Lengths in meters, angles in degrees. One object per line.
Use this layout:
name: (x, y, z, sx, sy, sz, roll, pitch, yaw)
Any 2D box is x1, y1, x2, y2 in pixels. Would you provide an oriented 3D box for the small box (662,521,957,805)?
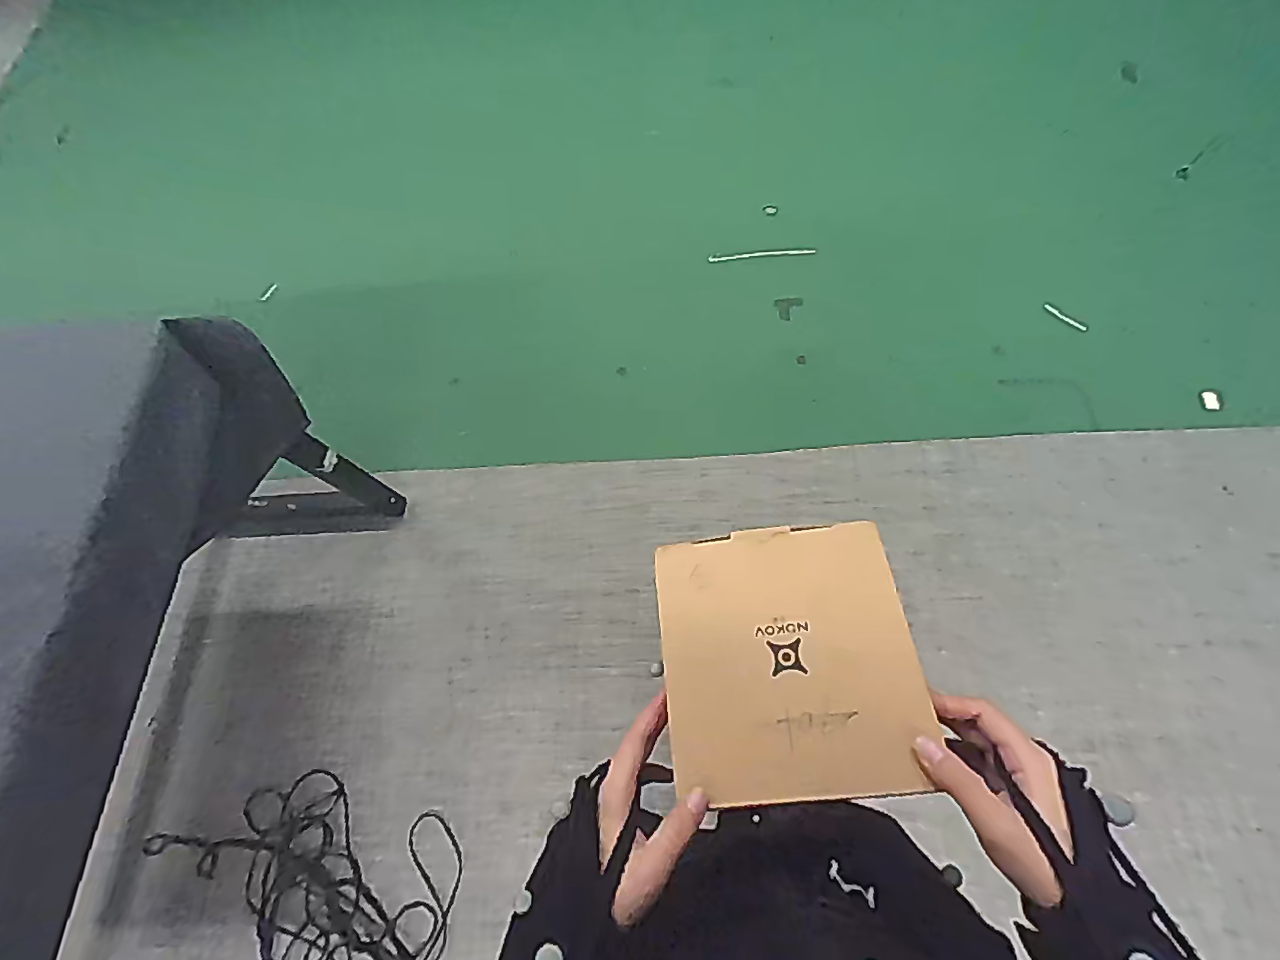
small box: (0.110, 0.152, 0.430, 0.168, 0.176, 0.179, -7, 61, 5)
